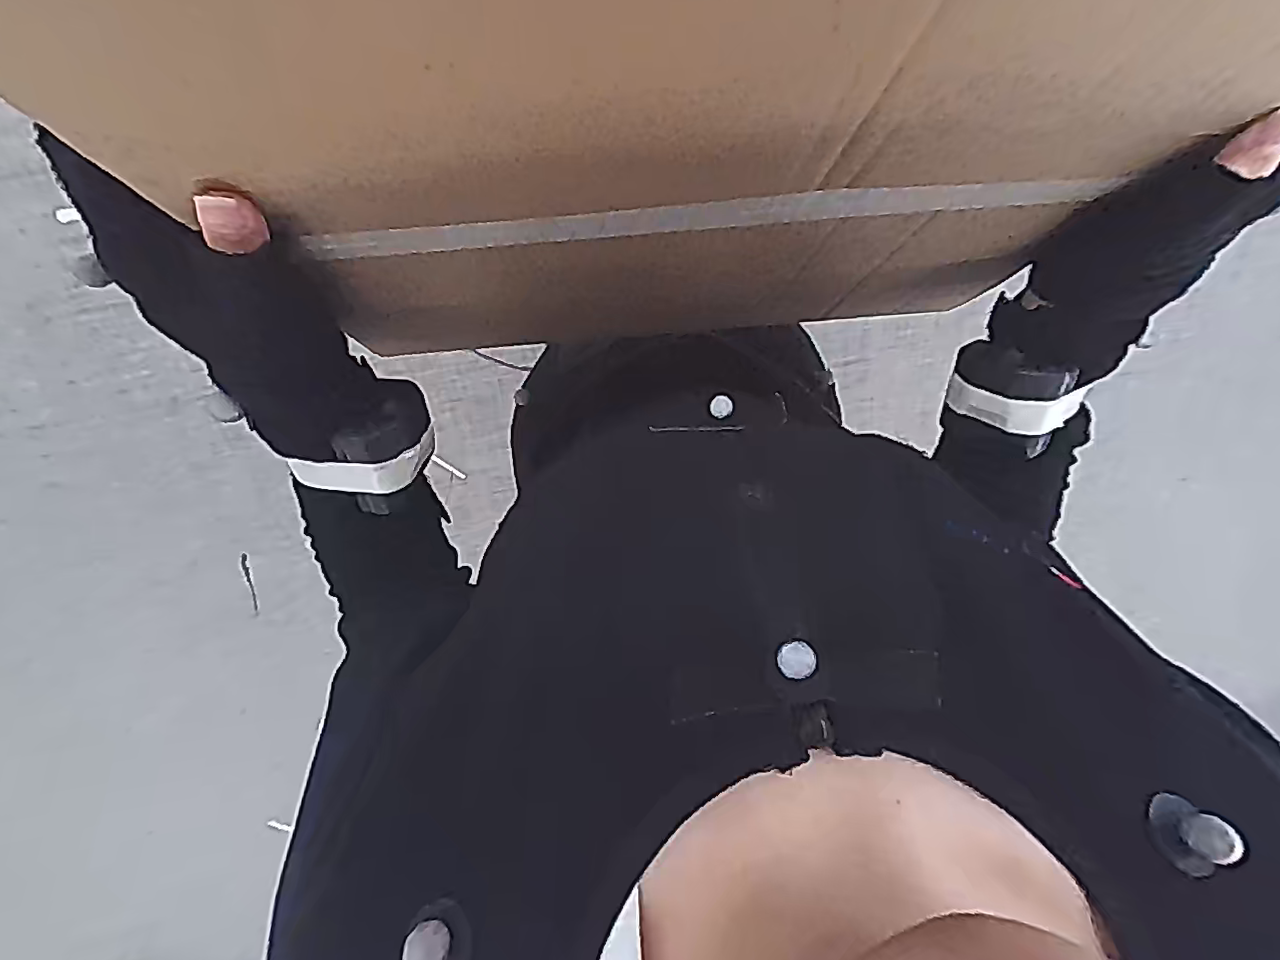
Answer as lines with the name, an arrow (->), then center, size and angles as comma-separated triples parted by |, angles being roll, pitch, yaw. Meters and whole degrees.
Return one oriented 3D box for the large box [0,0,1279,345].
large box -> 0.019, -0.272, 0.241 | 0.408, 0.320, 0.320 | -6, 87, -4
